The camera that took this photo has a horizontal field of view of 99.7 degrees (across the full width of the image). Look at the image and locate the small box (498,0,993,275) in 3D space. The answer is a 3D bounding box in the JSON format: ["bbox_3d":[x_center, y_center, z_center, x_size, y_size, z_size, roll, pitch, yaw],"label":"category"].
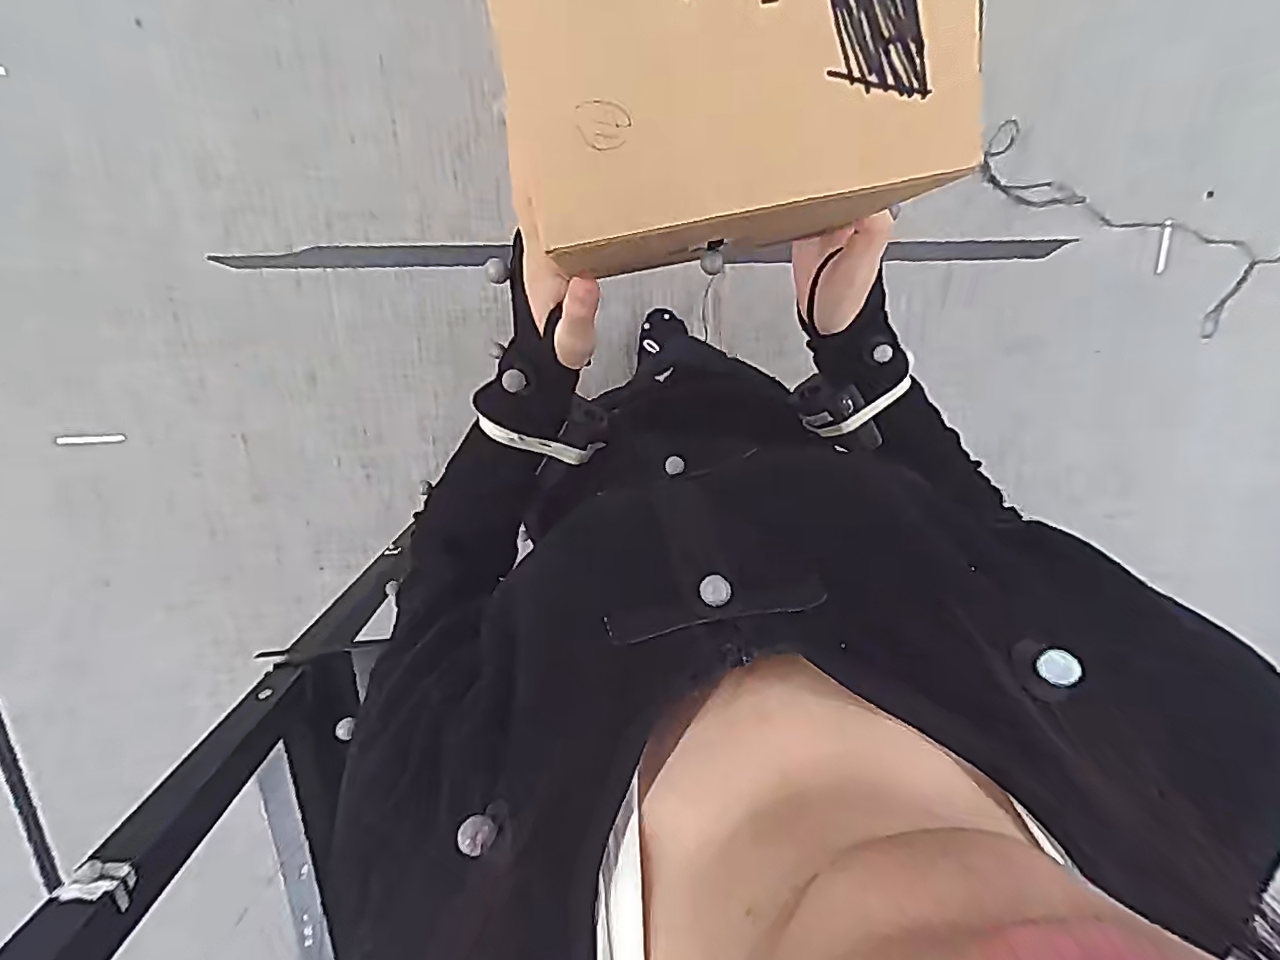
[{"bbox_3d":[0.031,-0.204,0.261,0.179,0.176,0.168,-11,106,0],"label":"small box"}]
